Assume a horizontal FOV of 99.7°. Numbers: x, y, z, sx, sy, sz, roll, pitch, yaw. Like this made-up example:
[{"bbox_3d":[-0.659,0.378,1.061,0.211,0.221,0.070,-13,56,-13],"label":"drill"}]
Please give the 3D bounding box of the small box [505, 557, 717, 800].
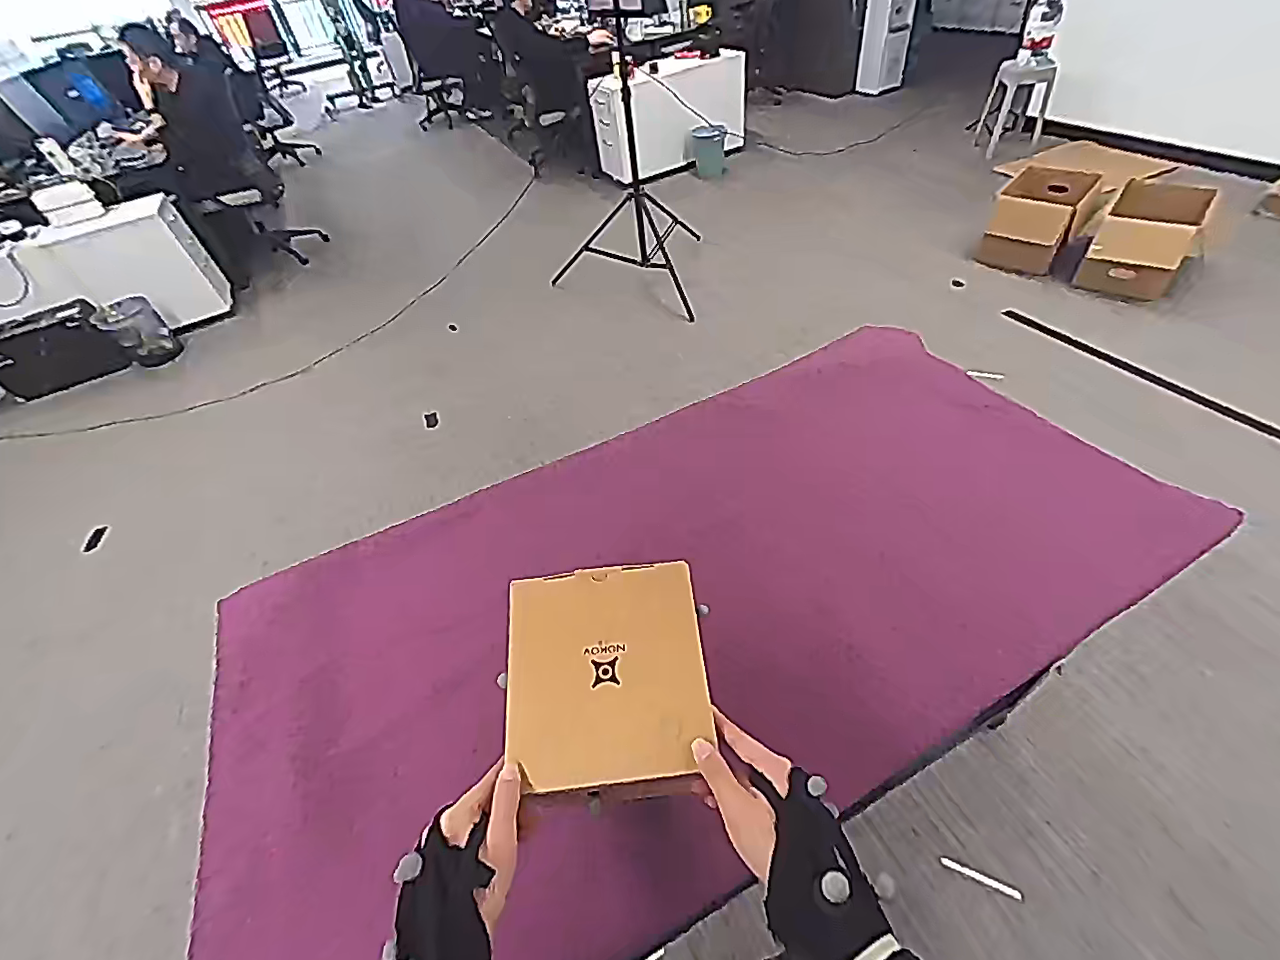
[{"bbox_3d":[-0.023,0.196,0.516,0.168,0.176,0.179,-7,54,-1],"label":"small box"}]
